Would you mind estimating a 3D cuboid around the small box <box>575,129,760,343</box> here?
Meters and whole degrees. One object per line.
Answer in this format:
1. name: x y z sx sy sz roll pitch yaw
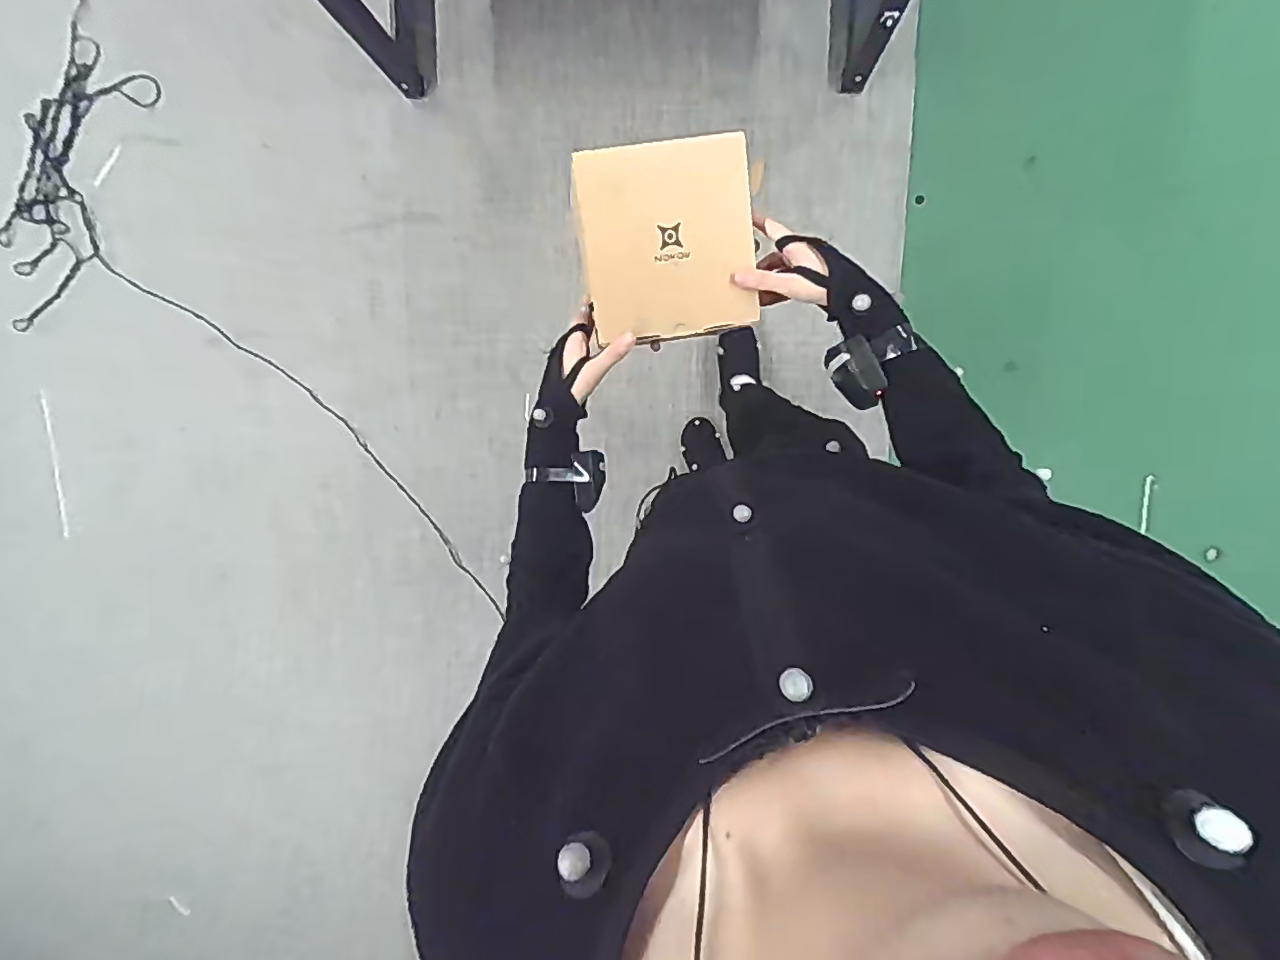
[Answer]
1. small box: 0.021 -0.252 0.599 0.168 0.176 0.179 -10 104 -4
